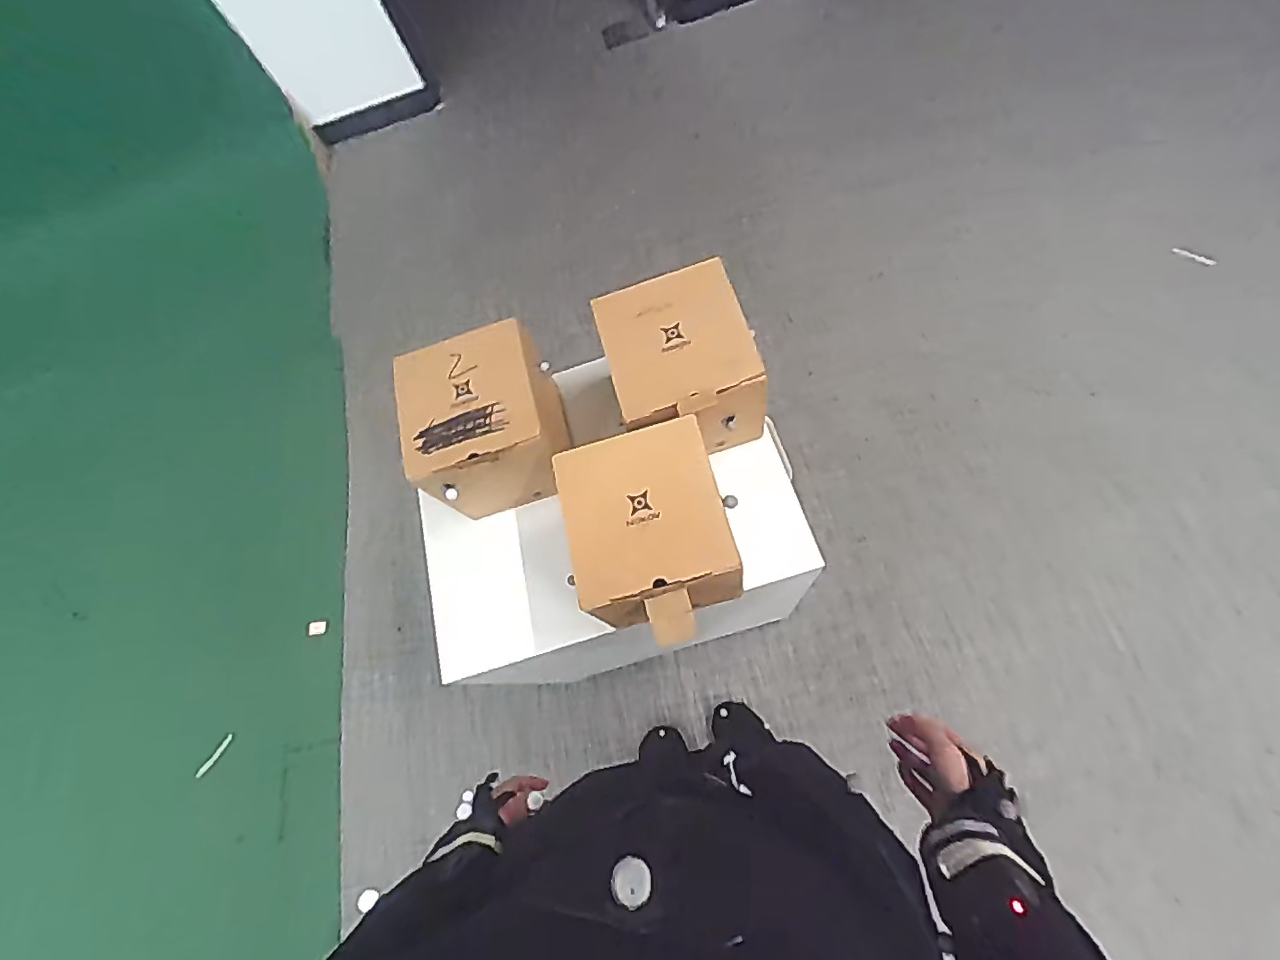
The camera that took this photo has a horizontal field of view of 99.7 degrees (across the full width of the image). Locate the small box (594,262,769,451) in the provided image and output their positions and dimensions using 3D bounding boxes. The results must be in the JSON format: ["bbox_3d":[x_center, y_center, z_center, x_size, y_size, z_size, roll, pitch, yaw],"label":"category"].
[{"bbox_3d":[0.056,-0.134,0.691,0.168,0.176,0.179,-18,67,3],"label":"small box"}]

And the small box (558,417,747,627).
[{"bbox_3d":[0.018,0.057,0.626,0.168,0.176,0.179,-16,67,4],"label":"small box"}]
